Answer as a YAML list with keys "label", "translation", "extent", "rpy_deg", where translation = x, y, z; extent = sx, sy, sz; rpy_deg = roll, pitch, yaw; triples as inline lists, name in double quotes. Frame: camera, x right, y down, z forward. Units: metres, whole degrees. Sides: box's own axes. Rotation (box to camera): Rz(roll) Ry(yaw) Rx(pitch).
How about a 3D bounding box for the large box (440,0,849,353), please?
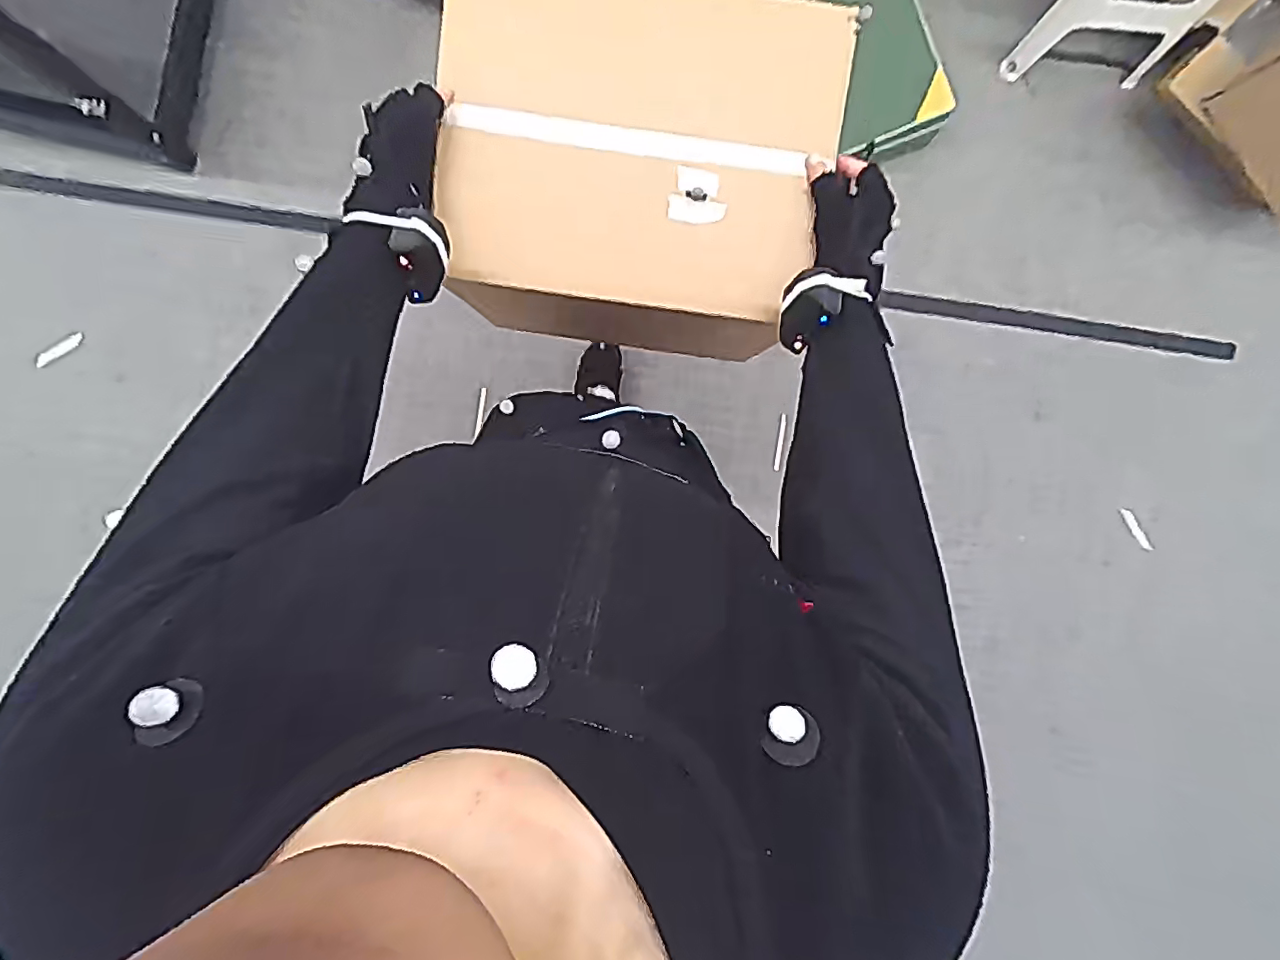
- label: "large box"
  translation: [-0.004, -0.363, 0.708]
  extent: [0.408, 0.320, 0.320]
  rpy_deg: [7, 96, -3]
